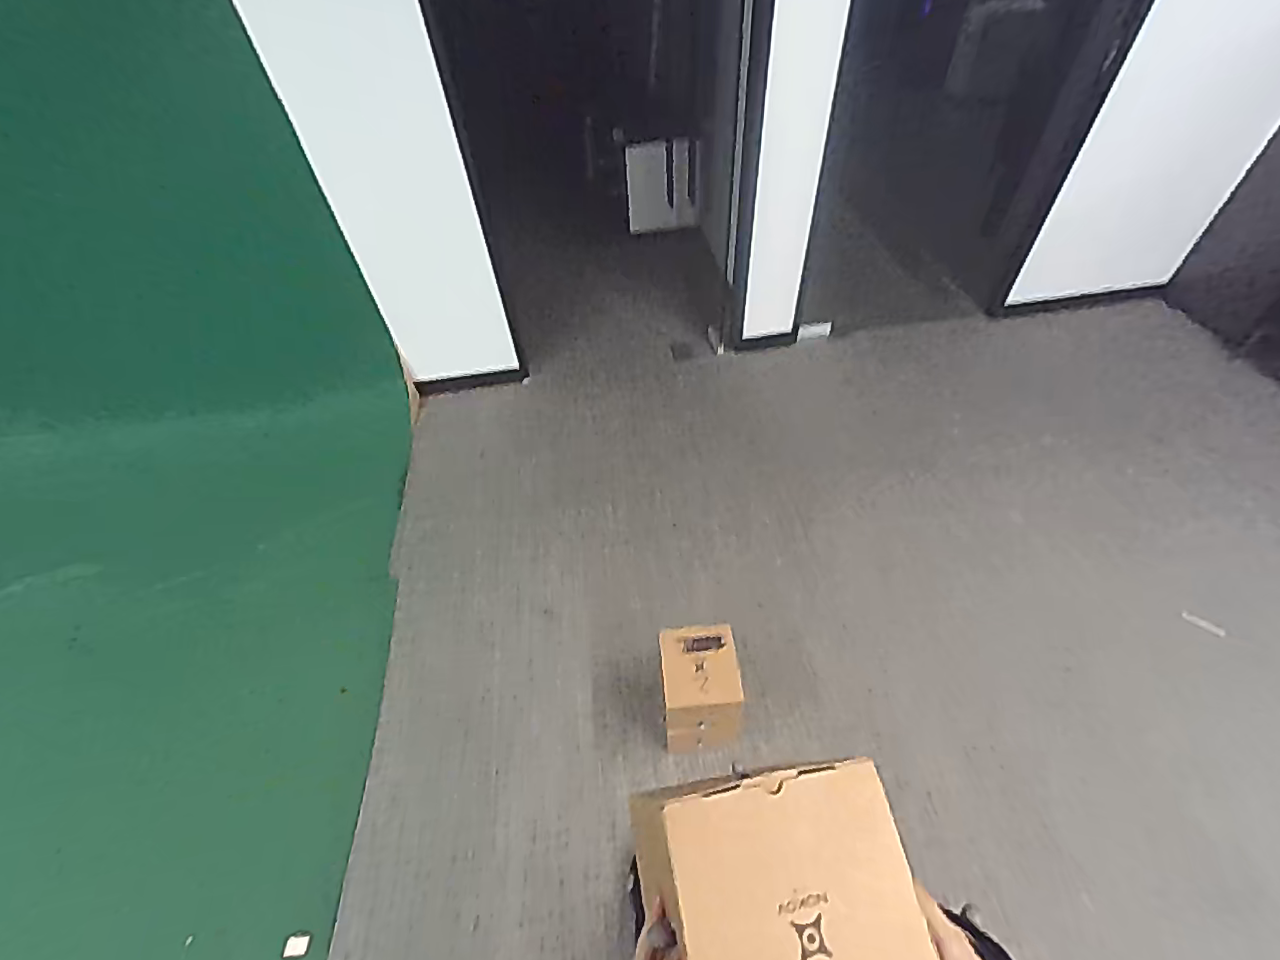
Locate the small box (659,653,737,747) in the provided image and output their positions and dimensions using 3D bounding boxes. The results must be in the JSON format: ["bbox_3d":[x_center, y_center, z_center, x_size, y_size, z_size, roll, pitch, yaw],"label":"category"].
[{"bbox_3d":[0.142,0.558,1.357,0.168,0.176,0.179,-7,50,-2],"label":"small box"}]

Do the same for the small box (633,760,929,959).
[{"bbox_3d":[0.095,0.333,0.427,0.168,0.176,0.179,-5,62,-12],"label":"small box"}]
